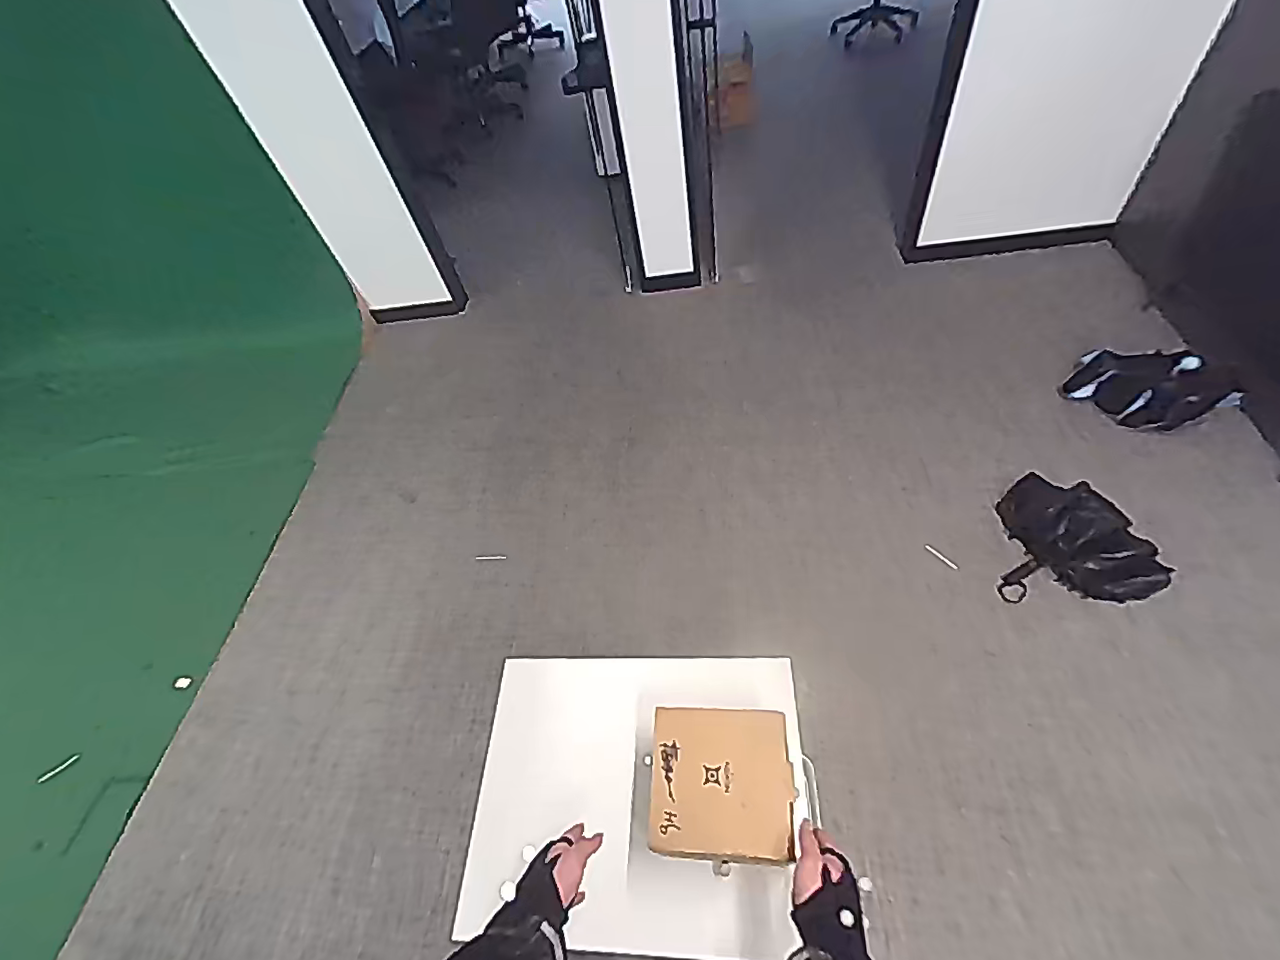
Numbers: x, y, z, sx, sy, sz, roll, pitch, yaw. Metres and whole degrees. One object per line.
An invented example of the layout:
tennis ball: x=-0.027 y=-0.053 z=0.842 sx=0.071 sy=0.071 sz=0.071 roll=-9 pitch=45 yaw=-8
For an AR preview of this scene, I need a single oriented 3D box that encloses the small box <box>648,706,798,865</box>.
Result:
small box: x=0.111 y=0.420 z=0.741 sx=0.179 sy=0.176 sz=0.168 roll=-1 pitch=54 yaw=9
